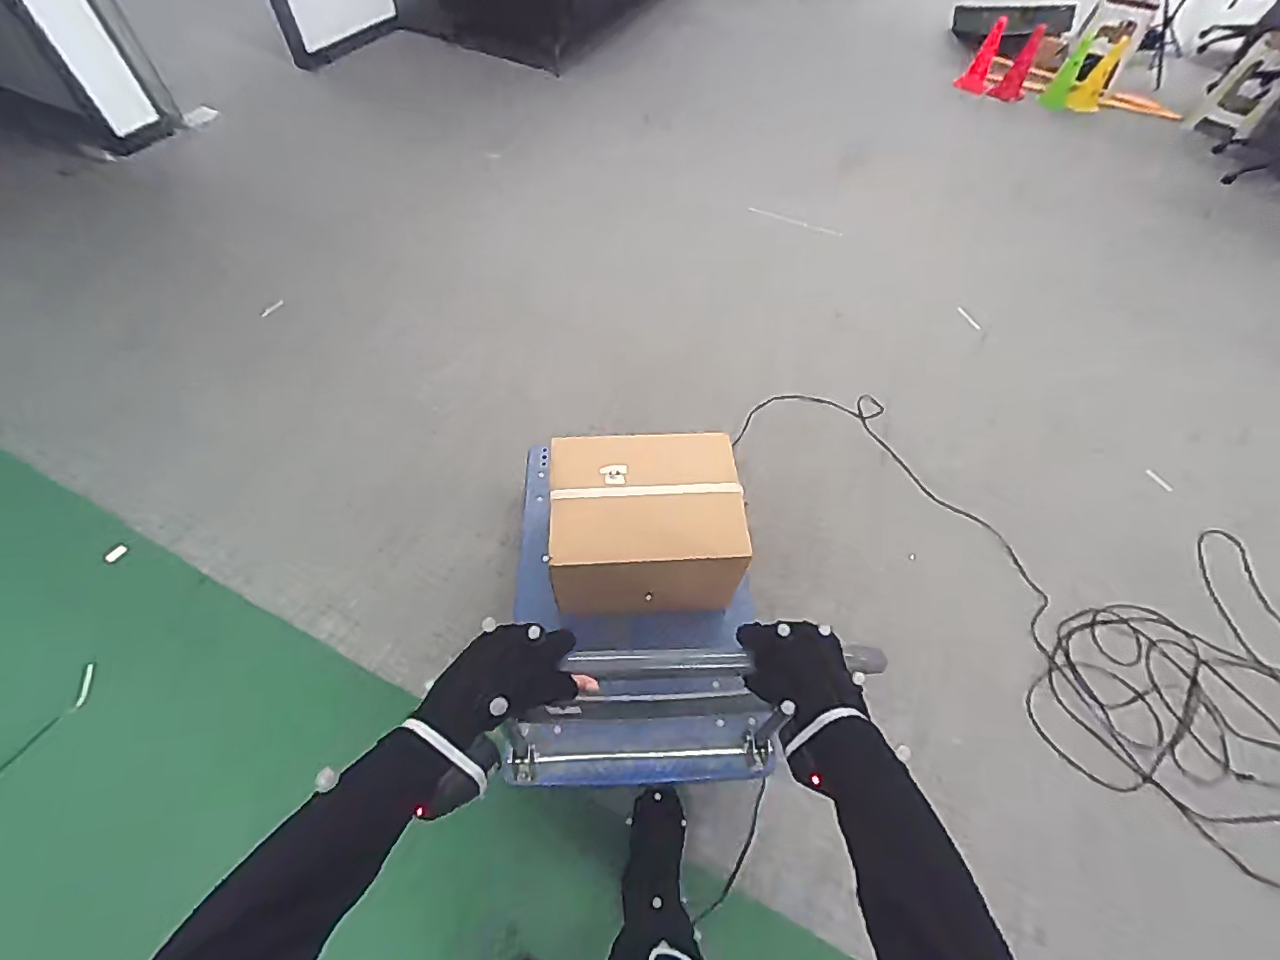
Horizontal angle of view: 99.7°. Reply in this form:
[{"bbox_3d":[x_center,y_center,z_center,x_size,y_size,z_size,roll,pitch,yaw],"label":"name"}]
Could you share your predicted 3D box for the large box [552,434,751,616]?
[{"bbox_3d":[0.010,0.114,1.270,0.408,0.320,0.320,-3,57,-4],"label":"large box"}]
